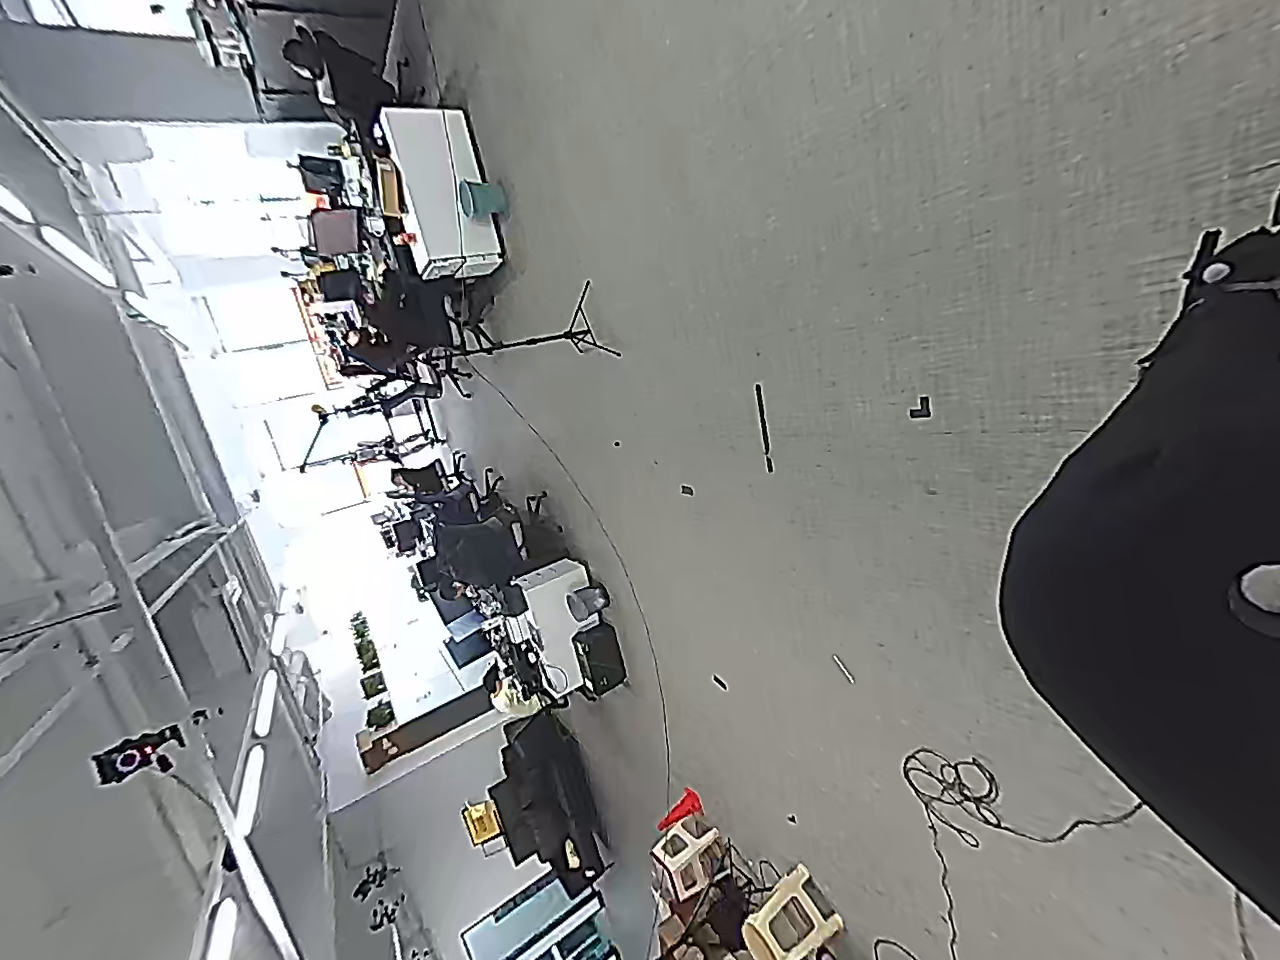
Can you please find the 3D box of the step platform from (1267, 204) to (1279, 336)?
[{"bbox_3d":[1.355,-0.373,0.718,0.684,0.204,0.286,4,112,58],"label":"step platform"}]
